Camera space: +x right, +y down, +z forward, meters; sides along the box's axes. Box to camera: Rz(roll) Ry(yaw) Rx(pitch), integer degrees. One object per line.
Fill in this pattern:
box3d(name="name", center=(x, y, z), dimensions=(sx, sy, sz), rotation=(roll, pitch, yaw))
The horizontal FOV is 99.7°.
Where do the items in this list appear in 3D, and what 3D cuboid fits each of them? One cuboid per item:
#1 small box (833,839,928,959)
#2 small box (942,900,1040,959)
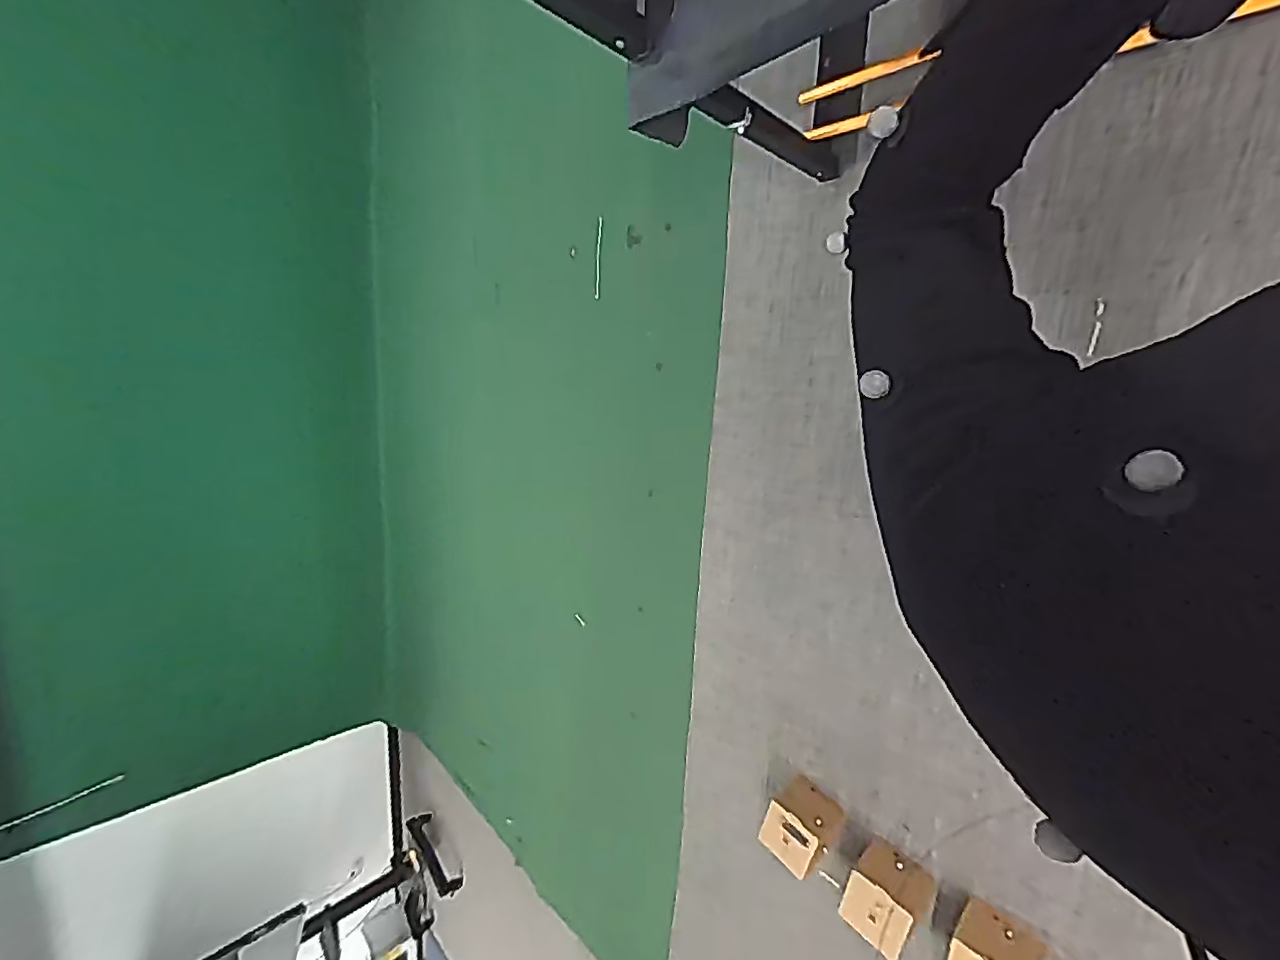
box3d(name="small box", center=(0.668, 1.157, 1.496), dimensions=(0.168, 0.176, 0.179), rotation=(25, 111, 41))
box3d(name="small box", center=(0.849, 1.195, 1.318), dimensions=(0.168, 0.176, 0.179), rotation=(15, 104, 44))
